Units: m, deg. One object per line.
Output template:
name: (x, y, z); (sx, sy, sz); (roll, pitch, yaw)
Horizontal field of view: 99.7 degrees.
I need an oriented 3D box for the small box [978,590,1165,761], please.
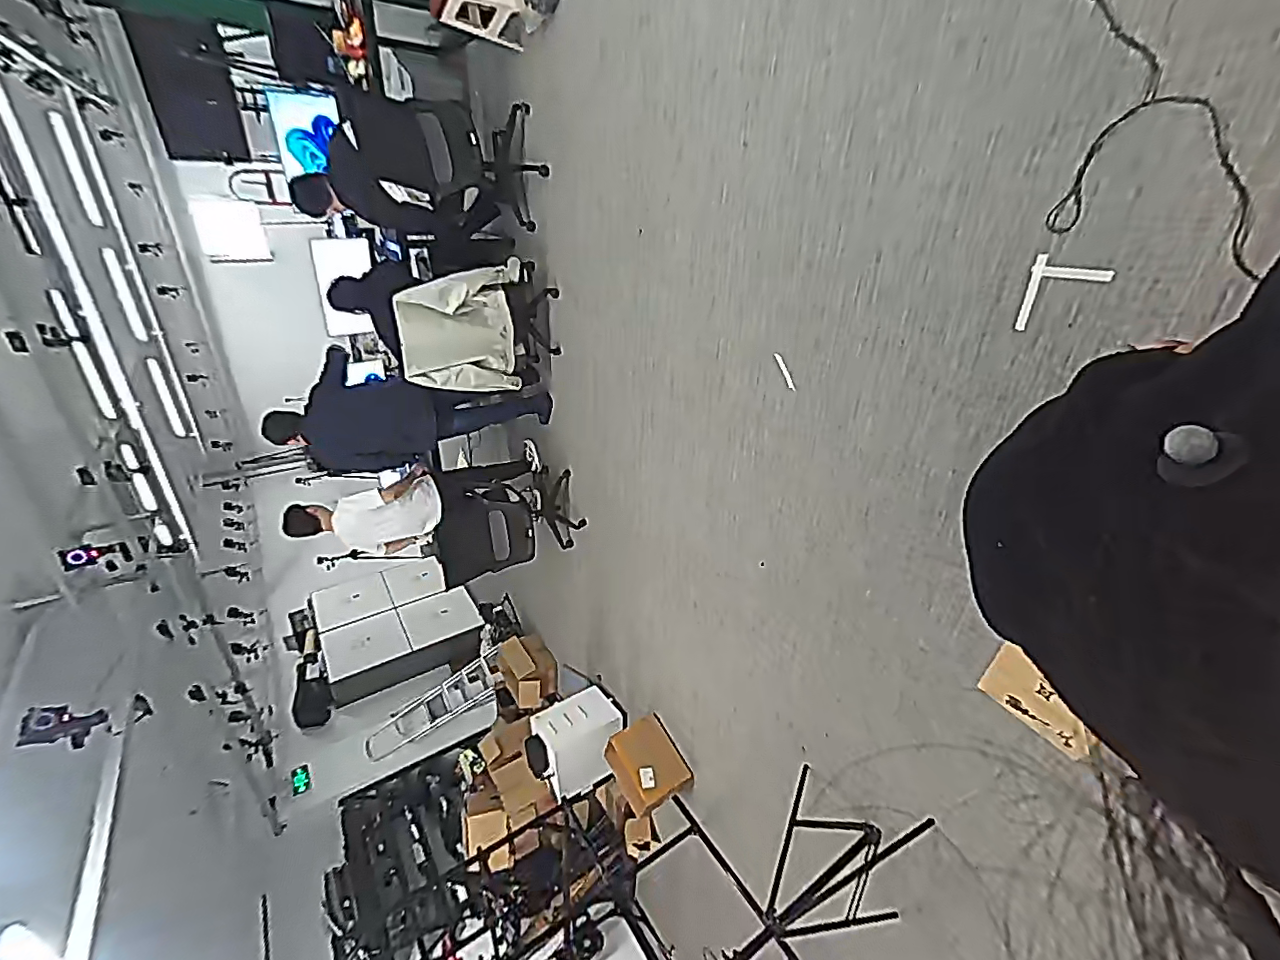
small box: (0.716, 0.313, 0.899); (0.168, 0.176, 0.179); (41, 136, 42)
